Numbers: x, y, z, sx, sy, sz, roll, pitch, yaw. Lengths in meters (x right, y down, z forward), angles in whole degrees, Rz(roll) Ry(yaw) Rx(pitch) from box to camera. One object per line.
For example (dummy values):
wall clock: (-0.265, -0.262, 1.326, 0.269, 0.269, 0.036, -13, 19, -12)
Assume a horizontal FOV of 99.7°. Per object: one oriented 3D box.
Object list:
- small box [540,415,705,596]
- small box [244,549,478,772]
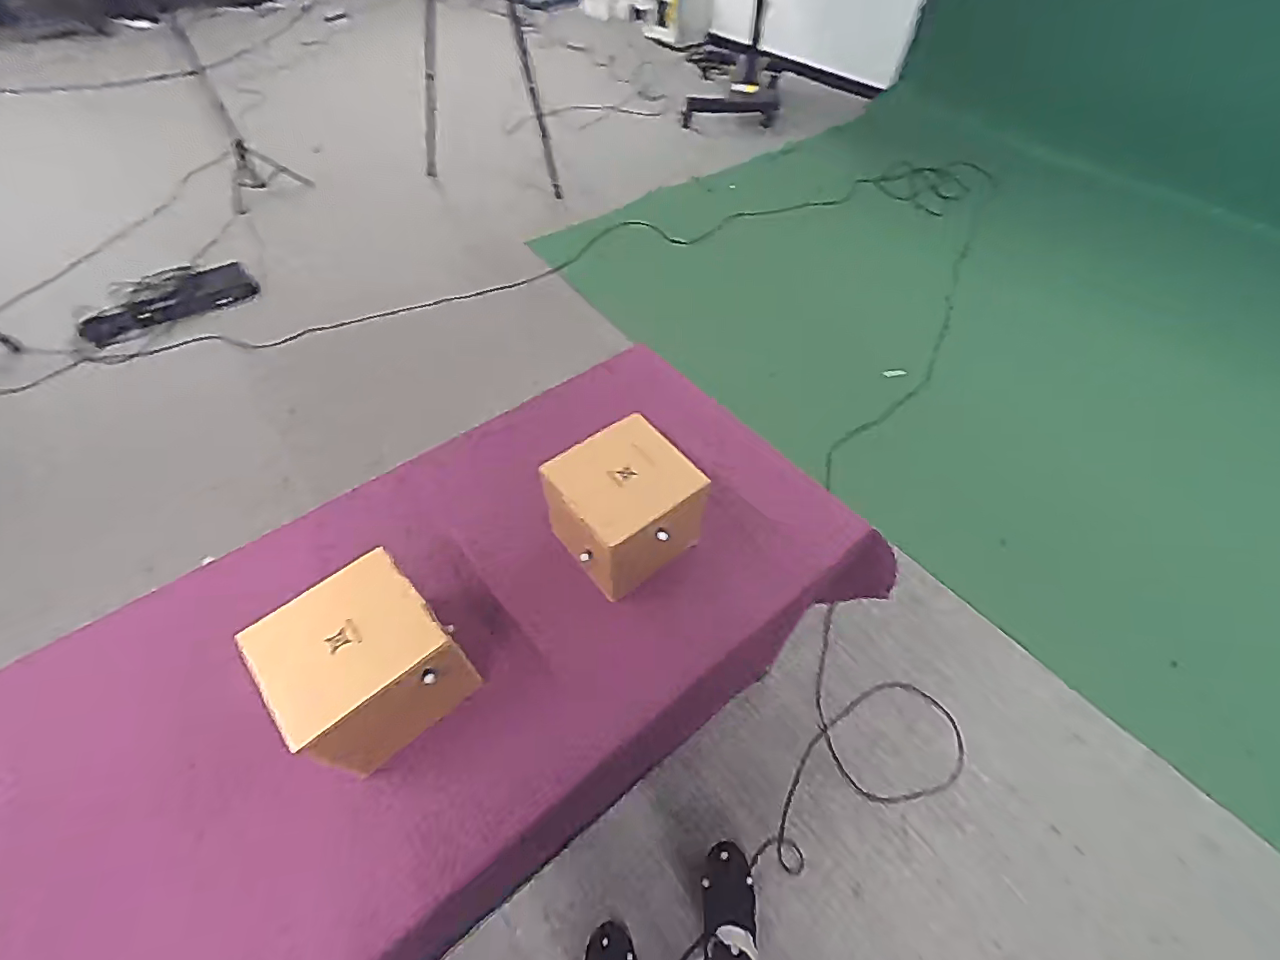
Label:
small box: (-0.024, 0.042, 0.810, 0.179, 0.176, 0.168, -32, 60, -22)
small box: (-0.330, 0.227, 0.671, 0.179, 0.176, 0.168, -36, 61, -25)
